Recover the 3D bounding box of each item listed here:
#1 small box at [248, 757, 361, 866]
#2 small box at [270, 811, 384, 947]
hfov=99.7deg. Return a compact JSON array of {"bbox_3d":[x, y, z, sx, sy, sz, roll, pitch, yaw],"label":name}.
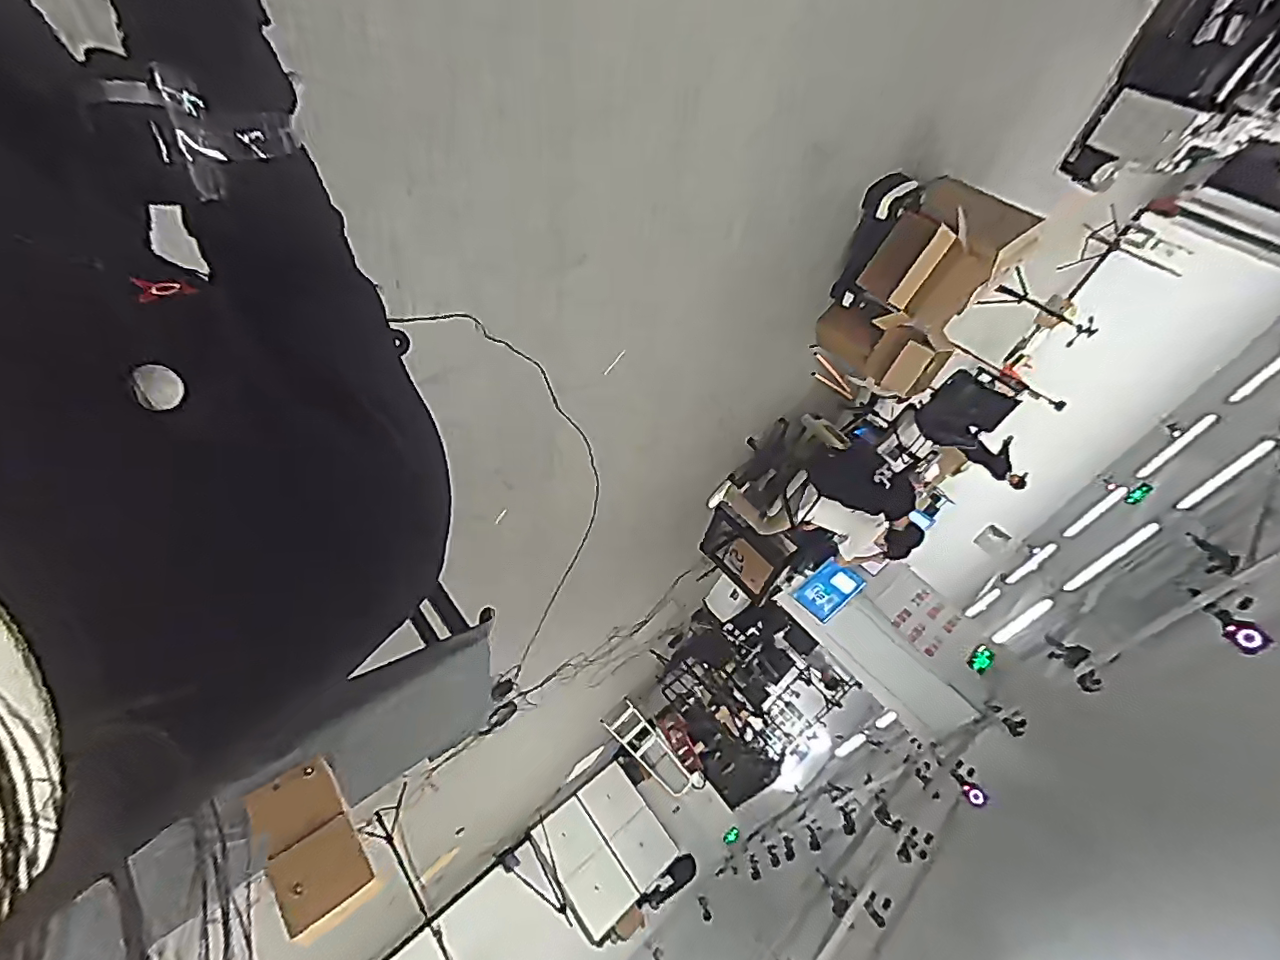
[{"bbox_3d":[-0.819,0.815,1.322,0.168,0.176,0.179,-29,148,-32],"label":"small box"},{"bbox_3d":[-0.717,0.909,1.237,0.179,0.176,0.168,-26,150,-36],"label":"small box"}]
